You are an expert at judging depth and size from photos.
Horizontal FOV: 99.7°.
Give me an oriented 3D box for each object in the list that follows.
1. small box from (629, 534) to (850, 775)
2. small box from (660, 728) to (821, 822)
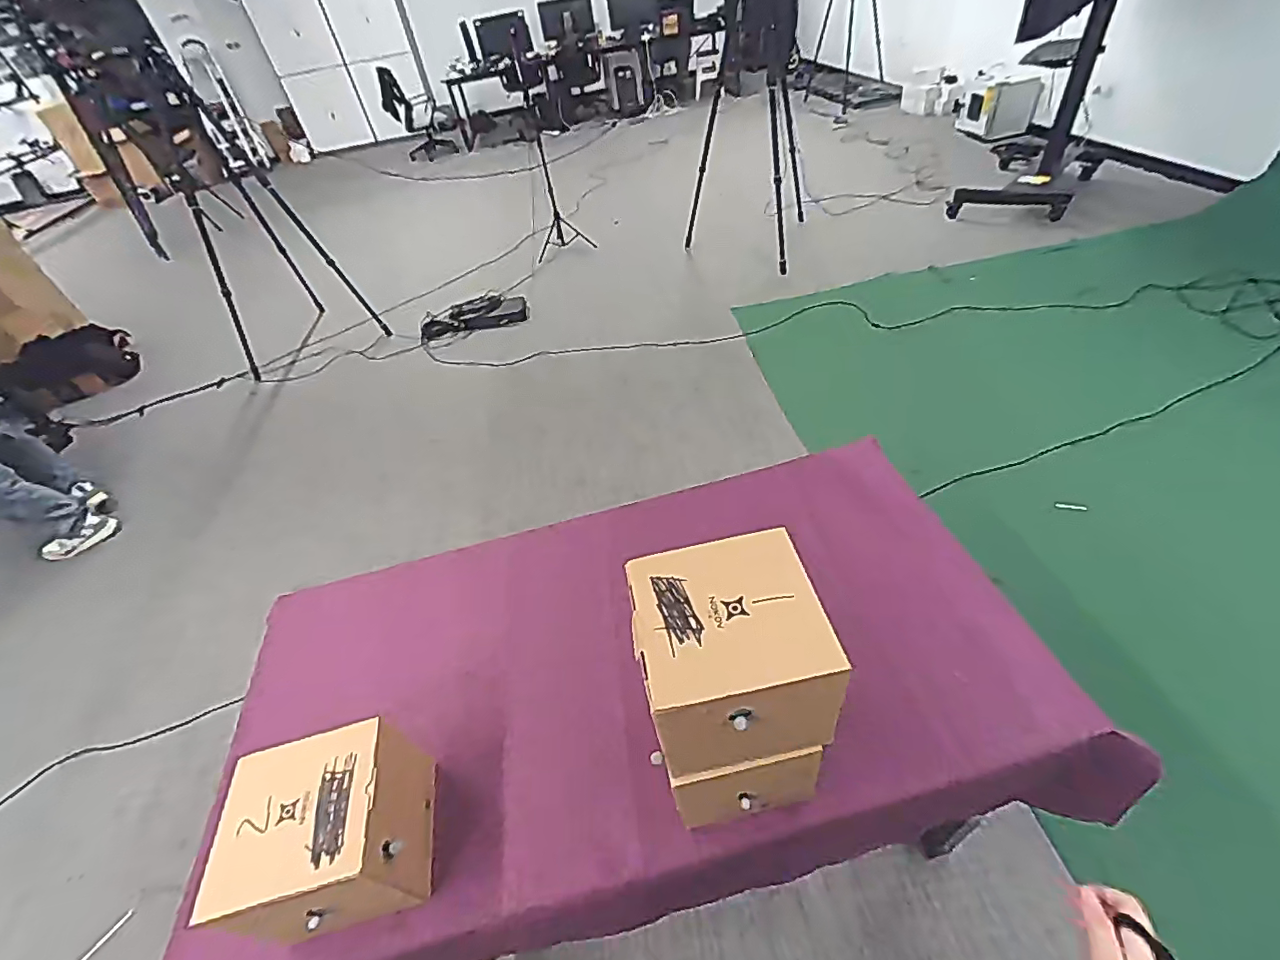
[{"bbox_3d":[0.096,0.186,0.570,0.179,0.176,0.168,-12,44,-1],"label":"small box"},{"bbox_3d":[0.111,0.307,0.681,0.168,0.176,0.179,-12,43,-2],"label":"small box"}]
